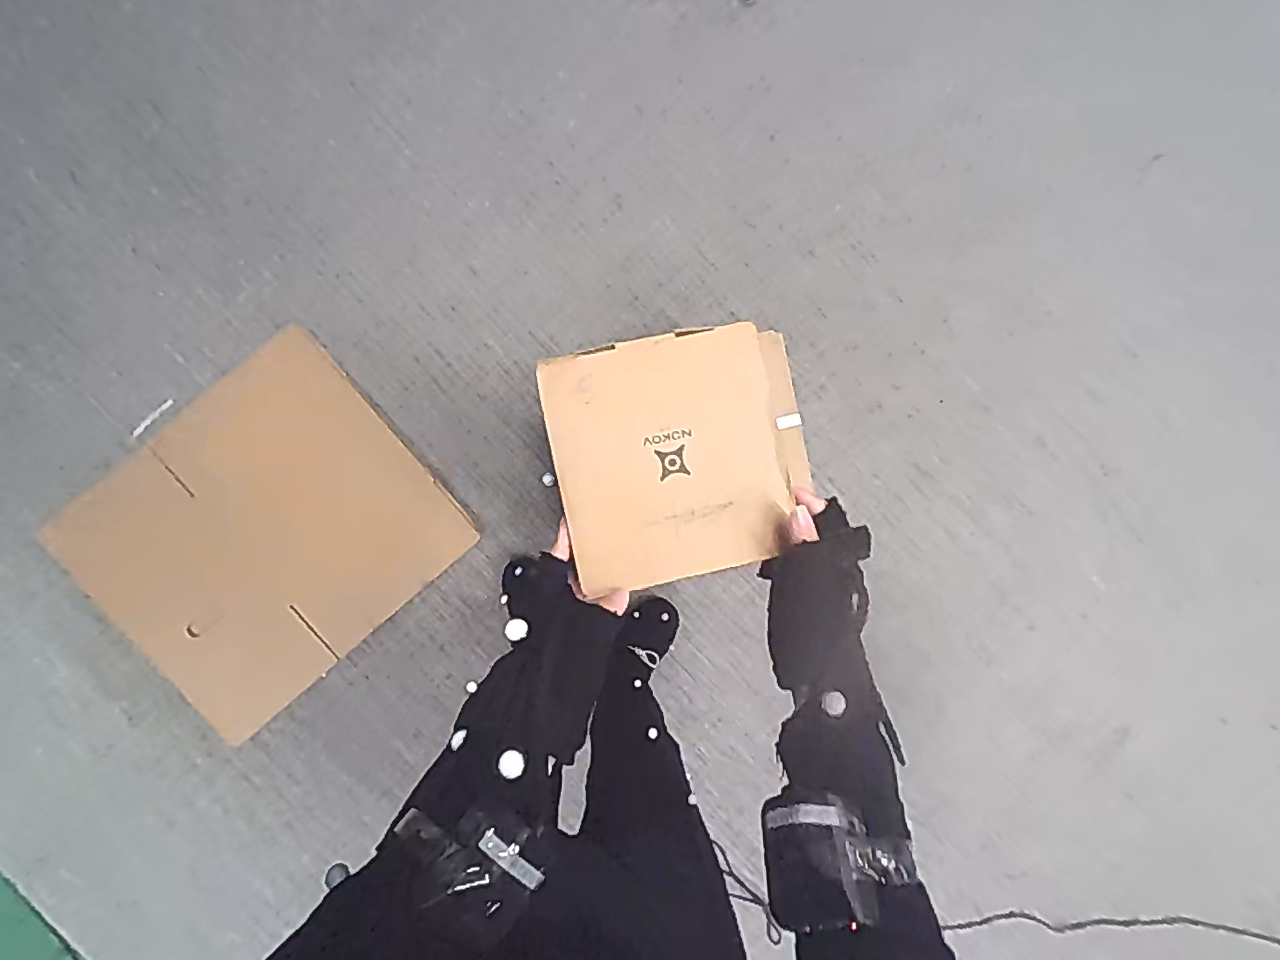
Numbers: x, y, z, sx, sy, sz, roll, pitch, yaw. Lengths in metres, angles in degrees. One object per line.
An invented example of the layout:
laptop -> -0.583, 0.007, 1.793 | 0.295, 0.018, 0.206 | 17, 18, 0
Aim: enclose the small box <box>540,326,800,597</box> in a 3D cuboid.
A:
small box -> 0.017, -0.013, 0.478 | 0.168, 0.176, 0.179 | -13, 90, -3
